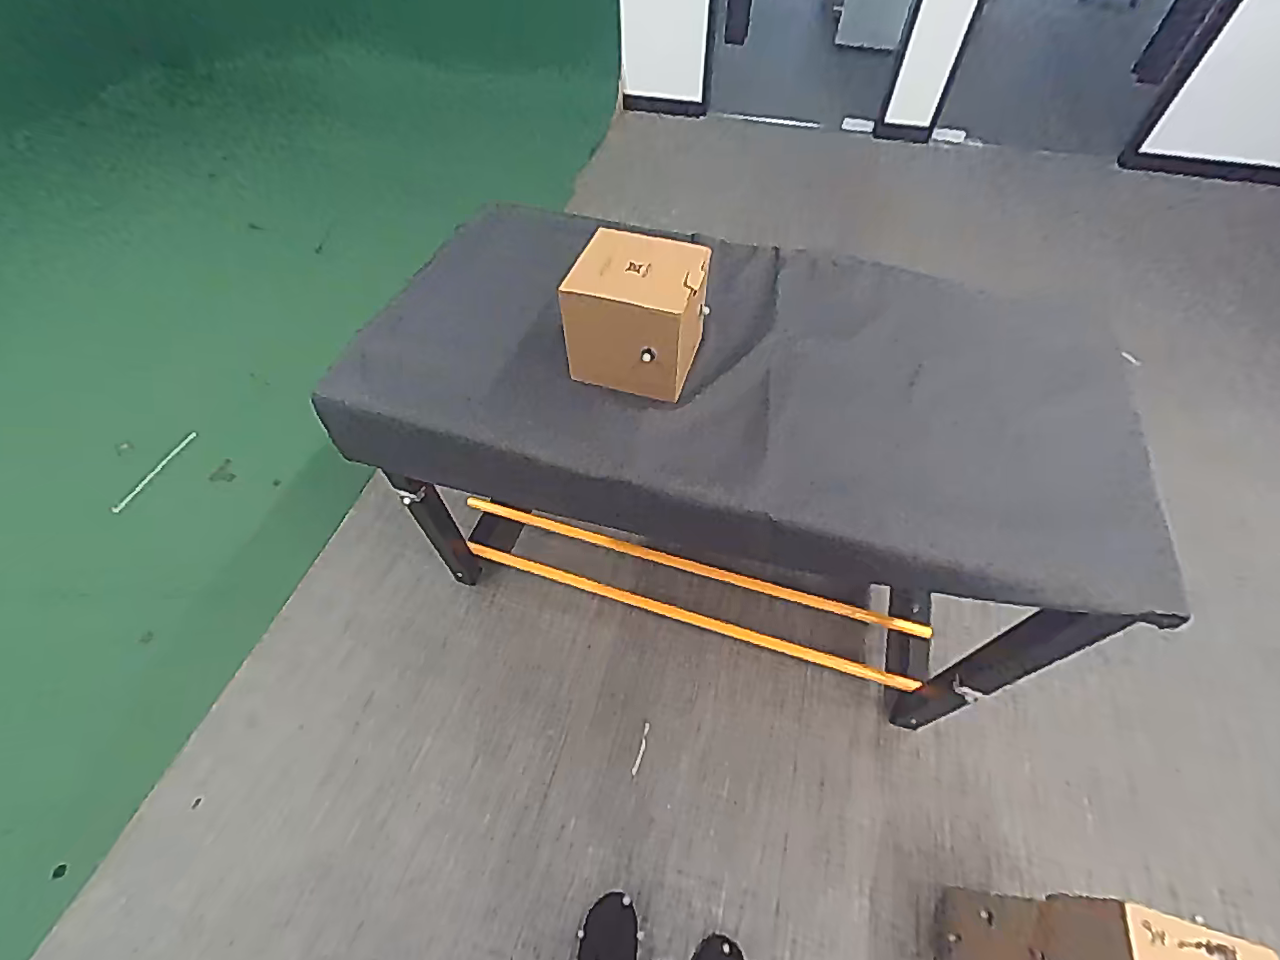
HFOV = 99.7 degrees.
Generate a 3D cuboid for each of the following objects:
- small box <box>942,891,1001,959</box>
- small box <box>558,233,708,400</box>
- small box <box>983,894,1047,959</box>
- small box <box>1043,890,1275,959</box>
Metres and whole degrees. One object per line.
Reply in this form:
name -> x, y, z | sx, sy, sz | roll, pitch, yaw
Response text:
small box -> 0.655, 0.842, 0.941 | 0.179, 0.176, 0.168 | 15, 55, 11
small box -> -0.006, -0.244, 0.826 | 0.179, 0.176, 0.168 | 14, 54, 10
small box -> 0.641, 0.746, 0.807 | 0.179, 0.176, 0.168 | 14, 56, 9
small box -> 0.646, 0.648, 0.676 | 0.168, 0.176, 0.179 | 14, 57, 10
